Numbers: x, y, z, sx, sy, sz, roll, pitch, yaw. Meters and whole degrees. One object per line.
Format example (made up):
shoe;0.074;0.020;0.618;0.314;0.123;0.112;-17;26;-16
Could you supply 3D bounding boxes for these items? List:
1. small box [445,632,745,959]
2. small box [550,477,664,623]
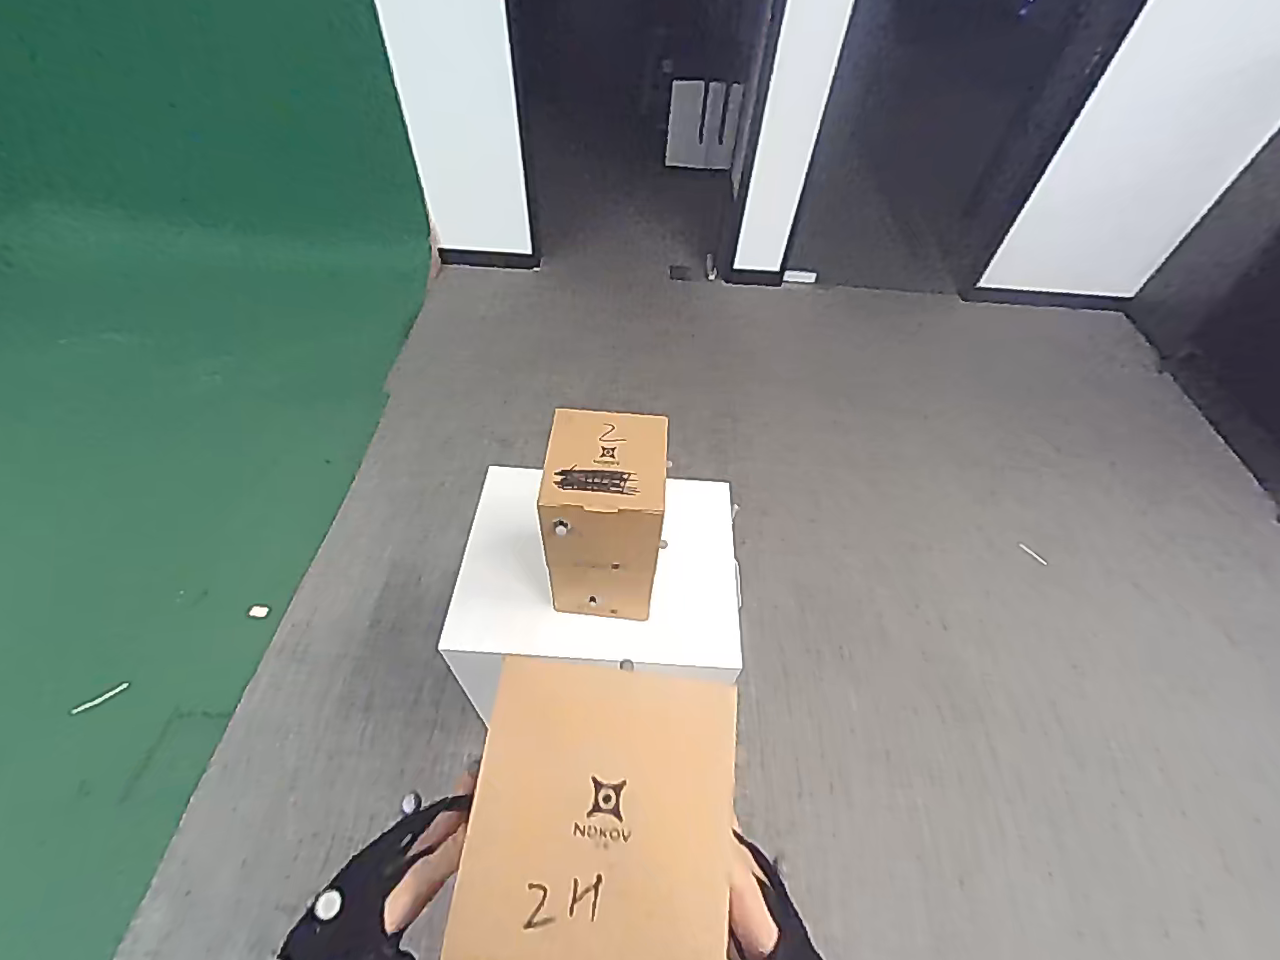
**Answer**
small box;-0.024;0.227;0.407;0.168;0.176;0.179;7;65;0
small box;-0.054;0.121;0.923;0.168;0.176;0.179;6;50;1
